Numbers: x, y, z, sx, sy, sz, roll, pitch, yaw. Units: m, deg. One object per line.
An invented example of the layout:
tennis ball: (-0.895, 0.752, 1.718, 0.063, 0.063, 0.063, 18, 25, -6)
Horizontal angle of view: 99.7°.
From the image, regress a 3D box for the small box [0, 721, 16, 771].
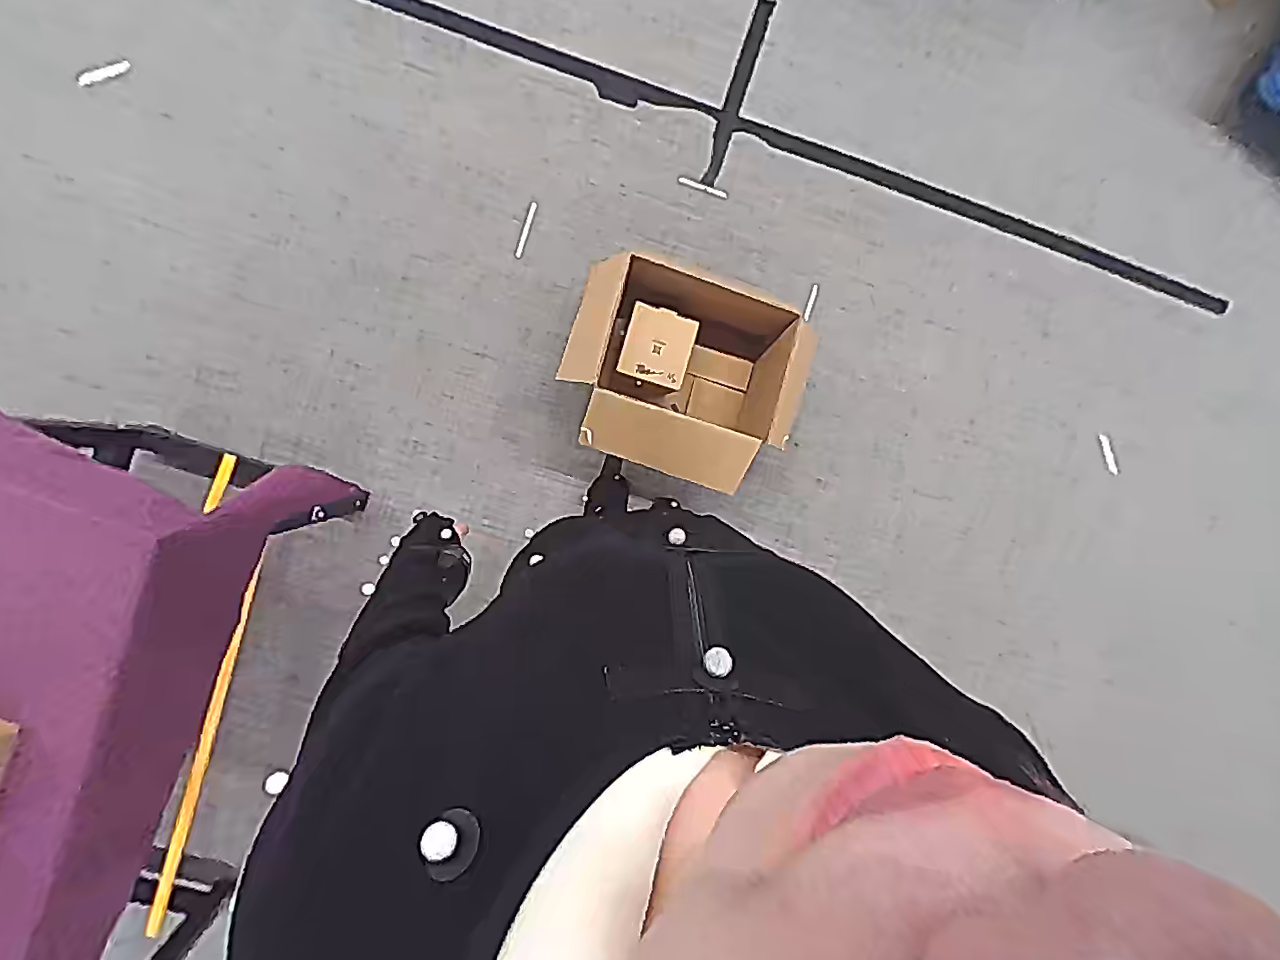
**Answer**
small box: (-0.923, 0.372, 0.635, 0.179, 0.176, 0.168, 21, 91, -4)

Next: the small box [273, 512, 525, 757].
small box: (-0.228, 0.155, 0.573, 0.176, 0.179, 0.168, -12, 126, 1)
